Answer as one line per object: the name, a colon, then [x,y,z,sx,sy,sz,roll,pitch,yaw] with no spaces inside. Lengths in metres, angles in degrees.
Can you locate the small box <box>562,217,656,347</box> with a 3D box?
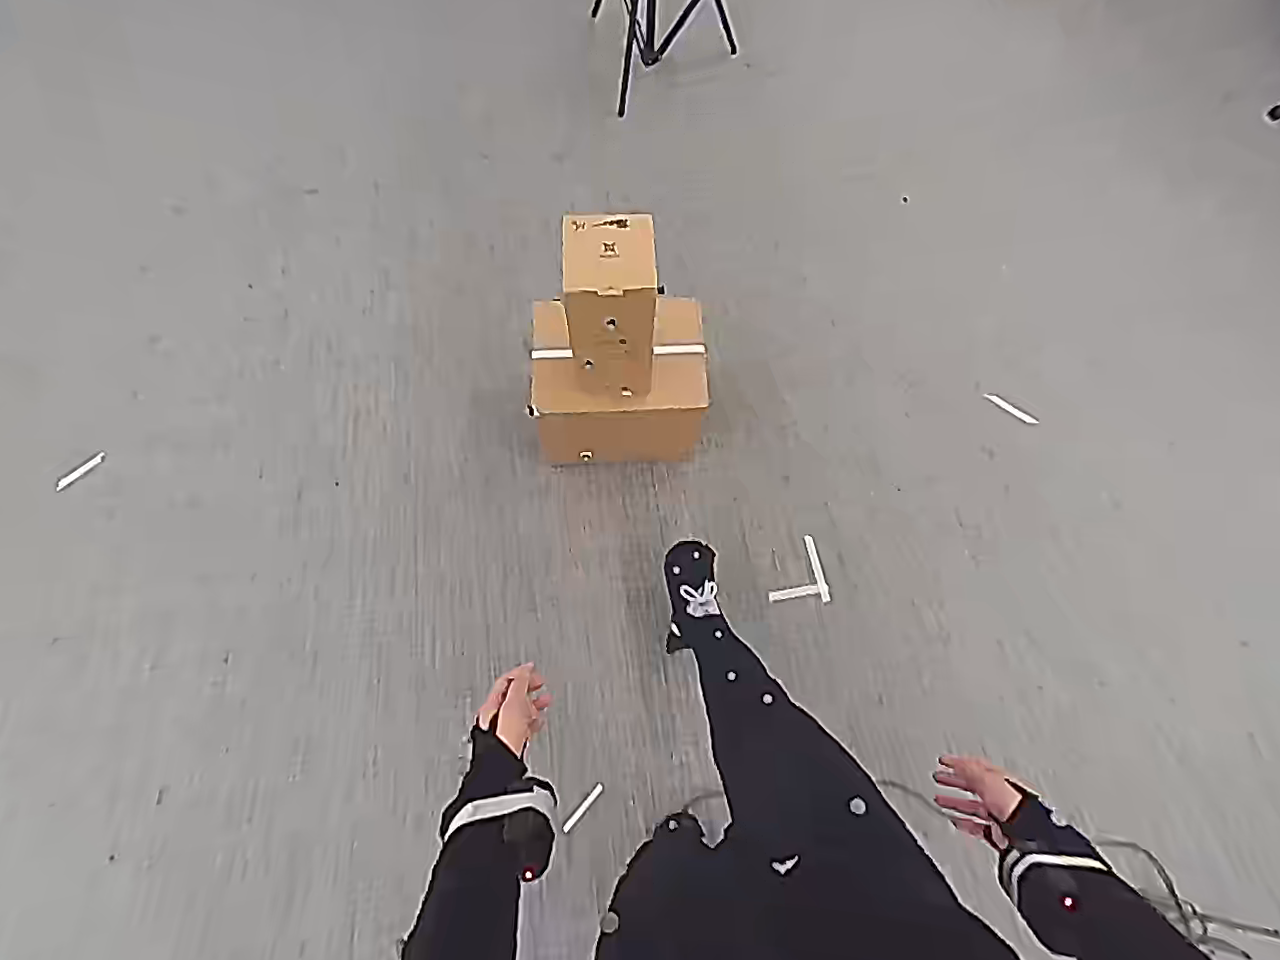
small box: [-0.056,-0.368,1.030,0.168,0.176,0.179,-2,70,-2]
